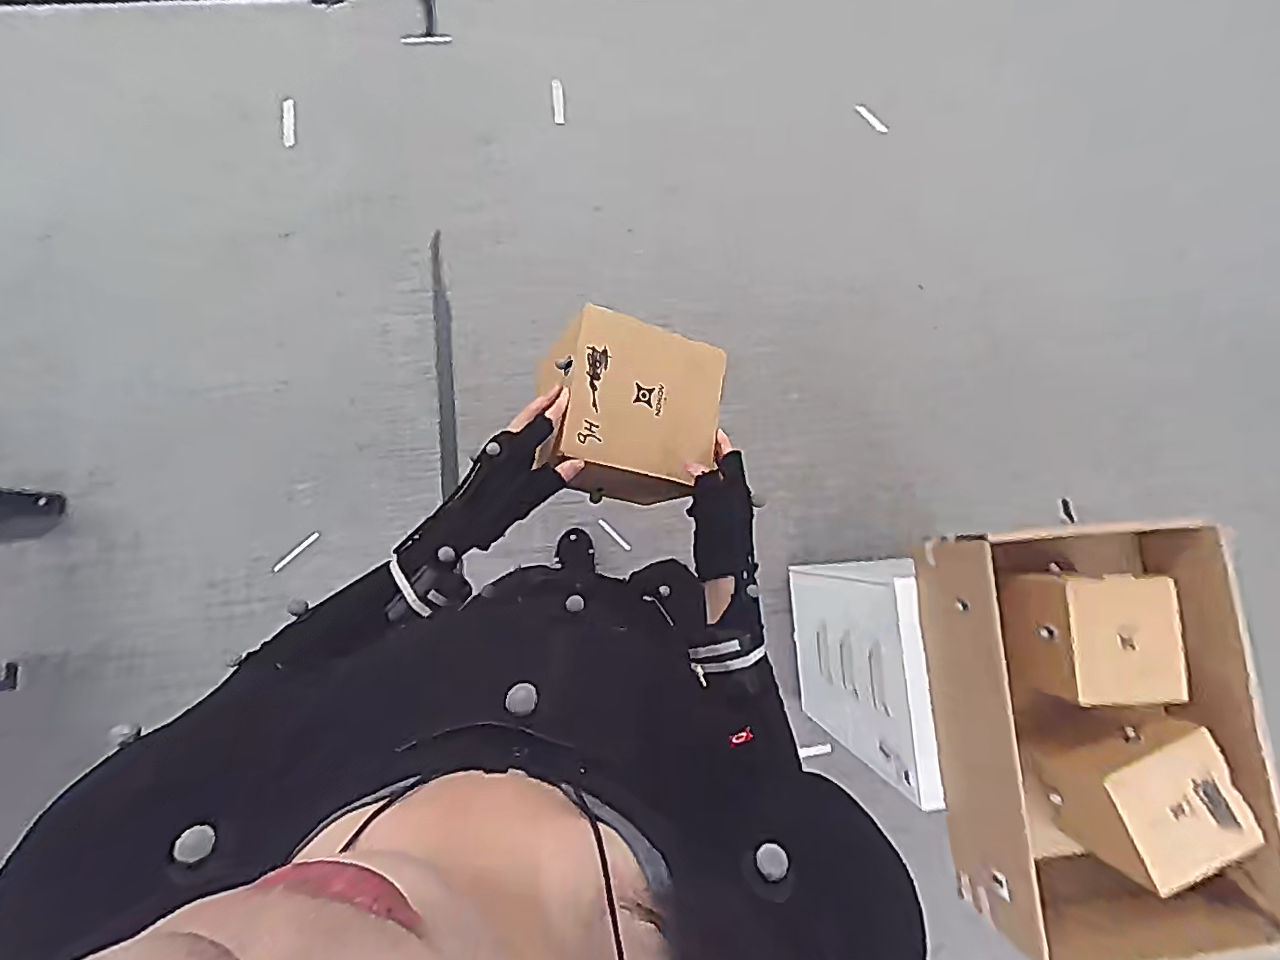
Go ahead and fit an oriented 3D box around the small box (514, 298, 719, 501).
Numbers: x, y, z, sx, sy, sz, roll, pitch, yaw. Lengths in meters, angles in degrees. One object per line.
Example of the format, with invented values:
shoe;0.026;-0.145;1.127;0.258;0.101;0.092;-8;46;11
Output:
small box;-0.032;-0.076;0.632;0.179;0.176;0.168;14;74;-24
